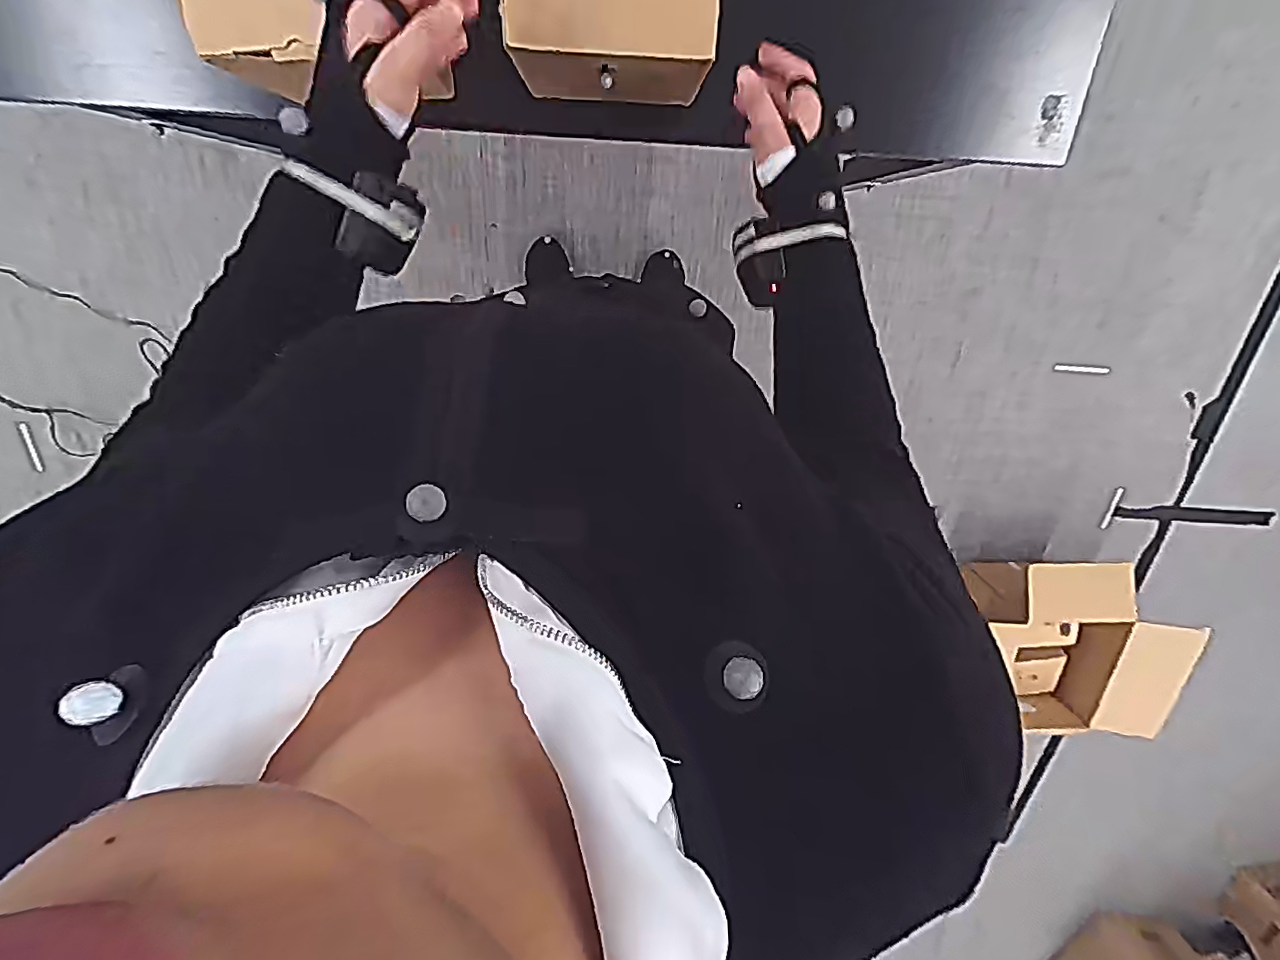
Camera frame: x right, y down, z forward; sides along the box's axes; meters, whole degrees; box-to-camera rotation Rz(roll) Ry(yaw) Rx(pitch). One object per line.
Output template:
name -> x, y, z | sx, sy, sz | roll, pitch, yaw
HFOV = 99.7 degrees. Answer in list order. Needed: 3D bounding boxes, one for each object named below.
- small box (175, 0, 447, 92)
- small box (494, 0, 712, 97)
small box -> -0.286, -0.461, 0.473 | 0.168, 0.176, 0.179 | -3, 114, 0
small box -> -0.029, -0.461, 0.483 | 0.179, 0.176, 0.168 | 1, 114, -3
